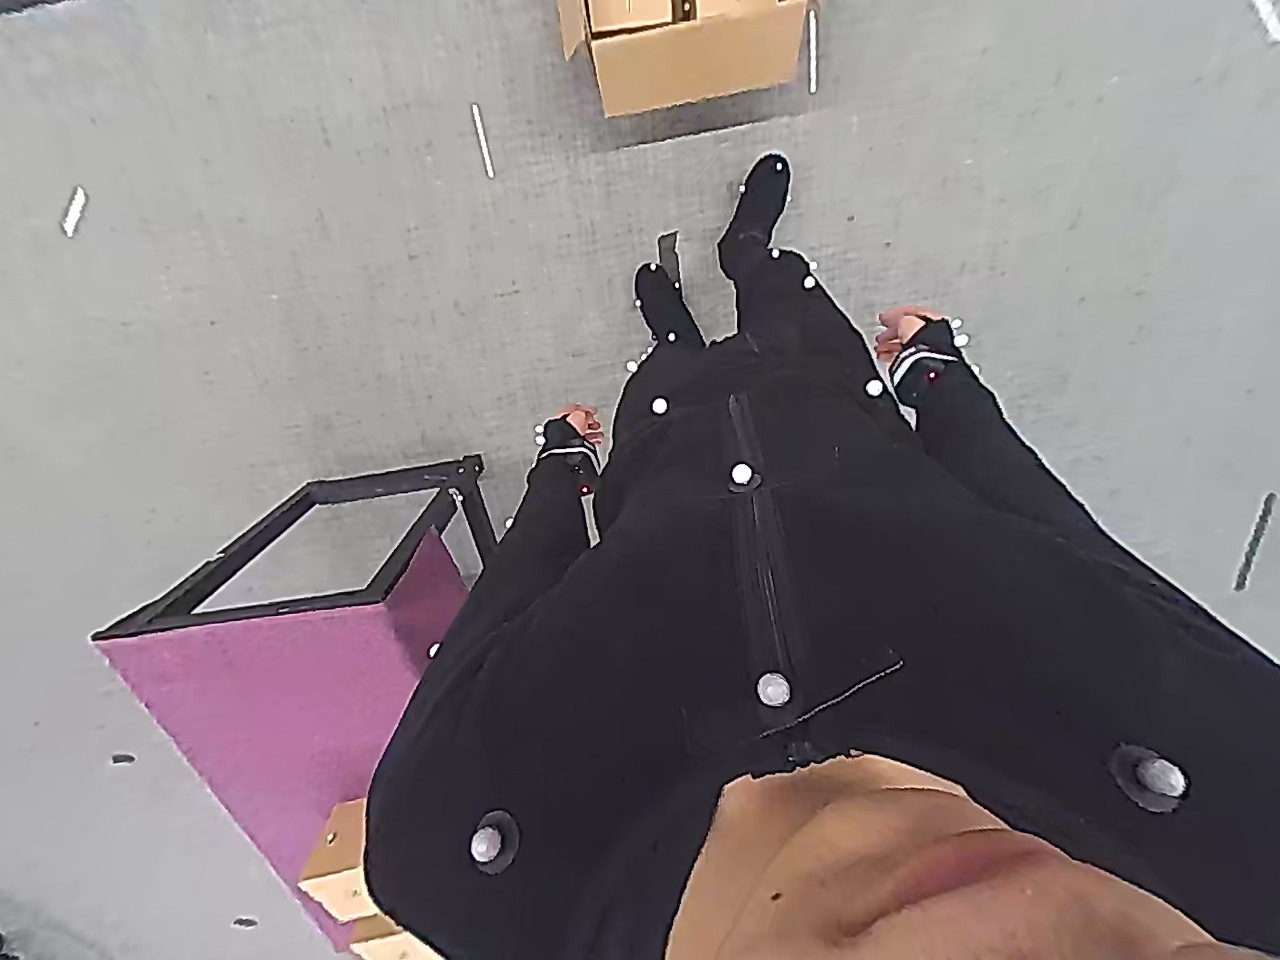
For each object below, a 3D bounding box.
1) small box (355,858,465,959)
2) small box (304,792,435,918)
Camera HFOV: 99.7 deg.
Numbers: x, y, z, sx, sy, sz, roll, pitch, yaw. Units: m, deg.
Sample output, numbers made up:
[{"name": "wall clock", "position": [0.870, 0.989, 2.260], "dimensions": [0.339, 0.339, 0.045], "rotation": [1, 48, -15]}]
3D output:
[{"name": "small box", "position": [-0.553, 1.074, 1.339], "dimensions": [0.179, 0.176, 0.168], "rotation": [-16, 114, 8]}, {"name": "small box", "position": [-0.605, 0.850, 1.233], "dimensions": [0.179, 0.176, 0.168], "rotation": [-17, 115, 9]}]
